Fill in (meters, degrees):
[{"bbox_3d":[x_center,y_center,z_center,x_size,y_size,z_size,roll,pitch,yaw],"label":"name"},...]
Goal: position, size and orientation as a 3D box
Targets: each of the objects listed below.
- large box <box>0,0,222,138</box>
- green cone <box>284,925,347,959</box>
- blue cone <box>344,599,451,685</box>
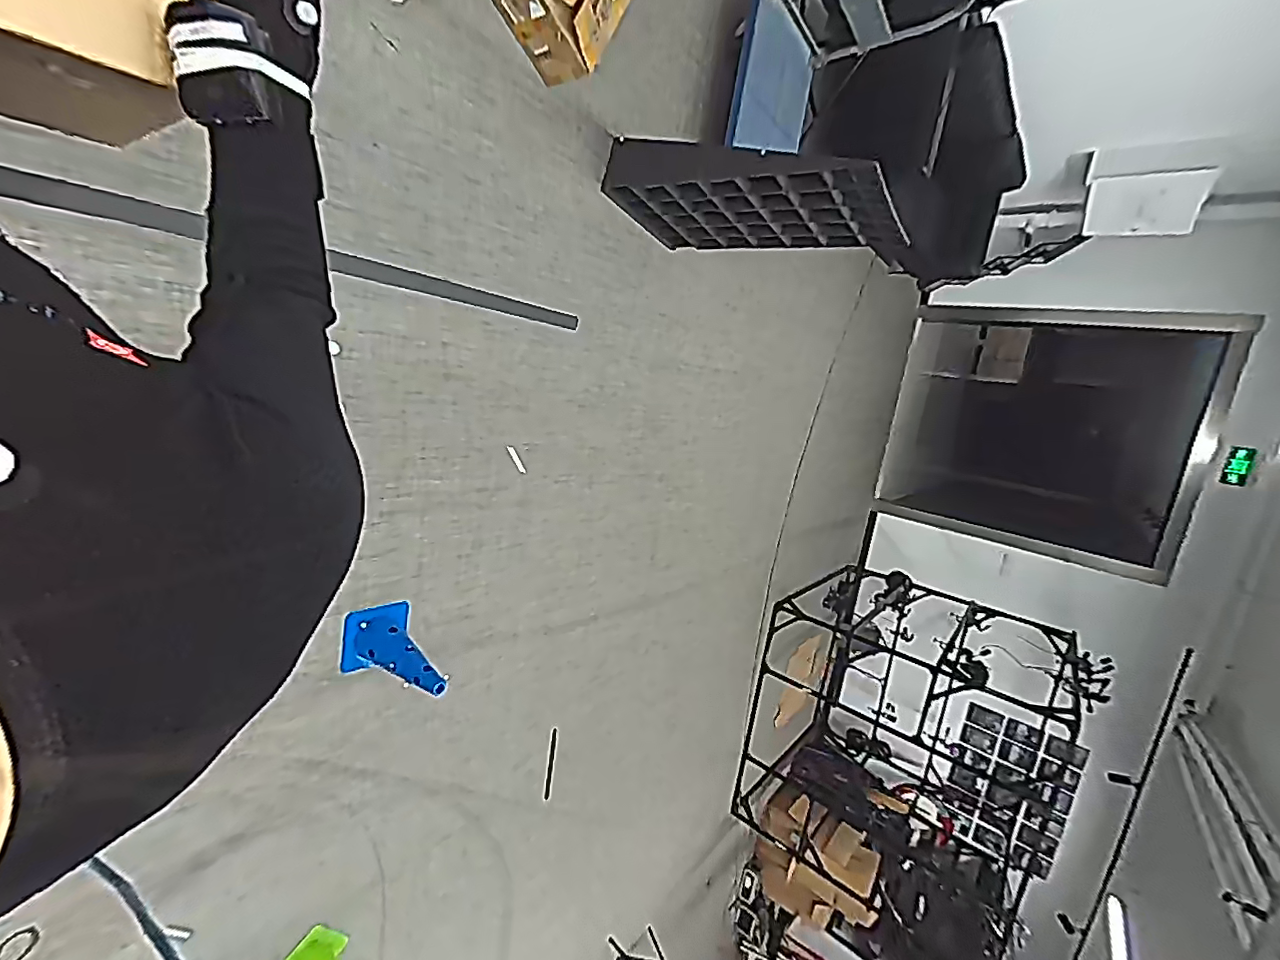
[{"bbox_3d":[-0.526,-0.436,0.286,0.408,0.320,0.320,-11,114,-53],"label":"large box"},{"bbox_3d":[-0.951,1.612,1.664,0.202,0.368,0.200,-49,138,-32],"label":"green cone"},{"bbox_3d":[-0.694,0.512,1.597,0.192,0.380,0.193,0,103,-54],"label":"blue cone"}]
